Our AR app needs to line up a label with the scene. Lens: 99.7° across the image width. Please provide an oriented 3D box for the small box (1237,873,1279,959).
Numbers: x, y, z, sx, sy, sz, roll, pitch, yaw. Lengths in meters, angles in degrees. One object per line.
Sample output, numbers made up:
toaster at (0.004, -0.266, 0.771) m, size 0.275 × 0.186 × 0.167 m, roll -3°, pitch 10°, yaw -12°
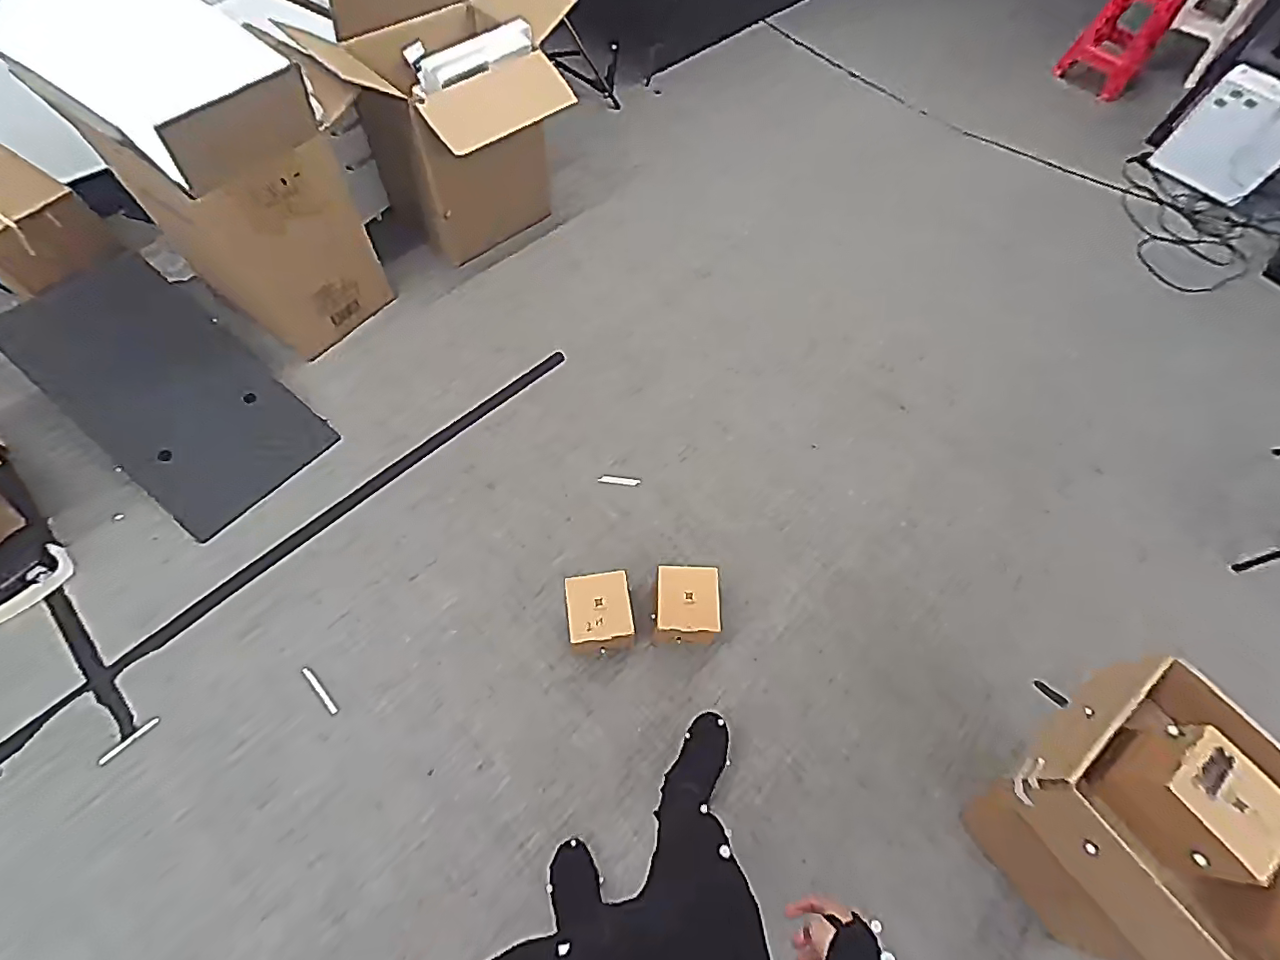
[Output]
small box at (1.144, 0.773, 0.869) m, size 0.179 × 0.176 × 0.168 m, roll -30°, pitch 66°, yaw -22°

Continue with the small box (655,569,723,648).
small box at (0.130, 0.362, 1.508) m, size 0.168 × 0.176 × 0.179 m, roll 3°, pitch 62°, yaw -3°

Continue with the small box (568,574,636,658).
small box at (-0.106, 0.376, 1.481) m, size 0.168 × 0.176 × 0.179 m, roll -7°, pitch 63°, yaw -7°
